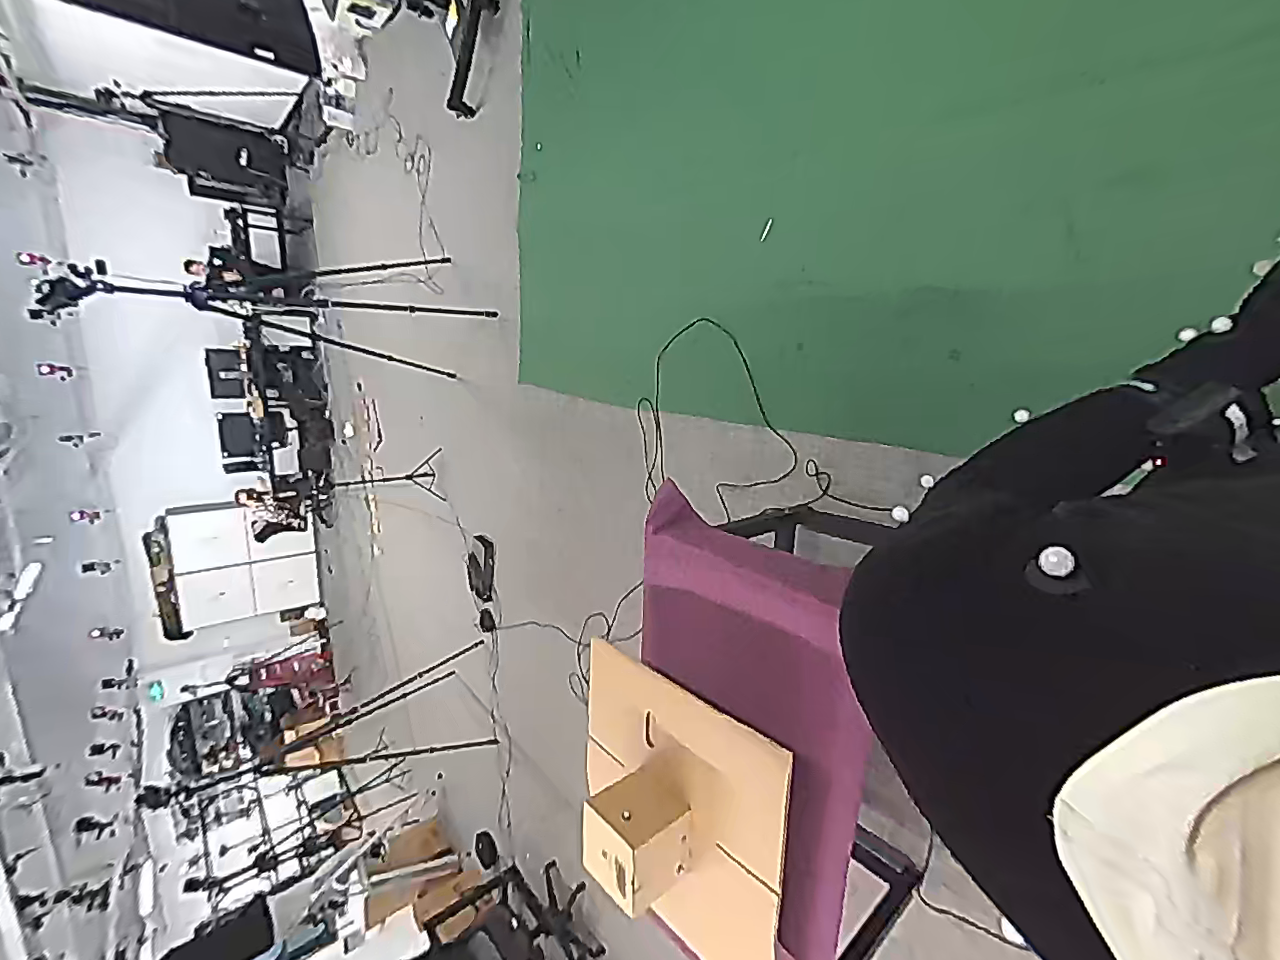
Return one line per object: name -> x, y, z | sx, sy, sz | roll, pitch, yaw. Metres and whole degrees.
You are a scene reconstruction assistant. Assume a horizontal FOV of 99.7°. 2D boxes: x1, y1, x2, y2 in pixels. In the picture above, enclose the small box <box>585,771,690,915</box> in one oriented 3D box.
small box -> -0.006, 0.789, 1.200 | 0.179, 0.176, 0.168 | 12, 104, 48
